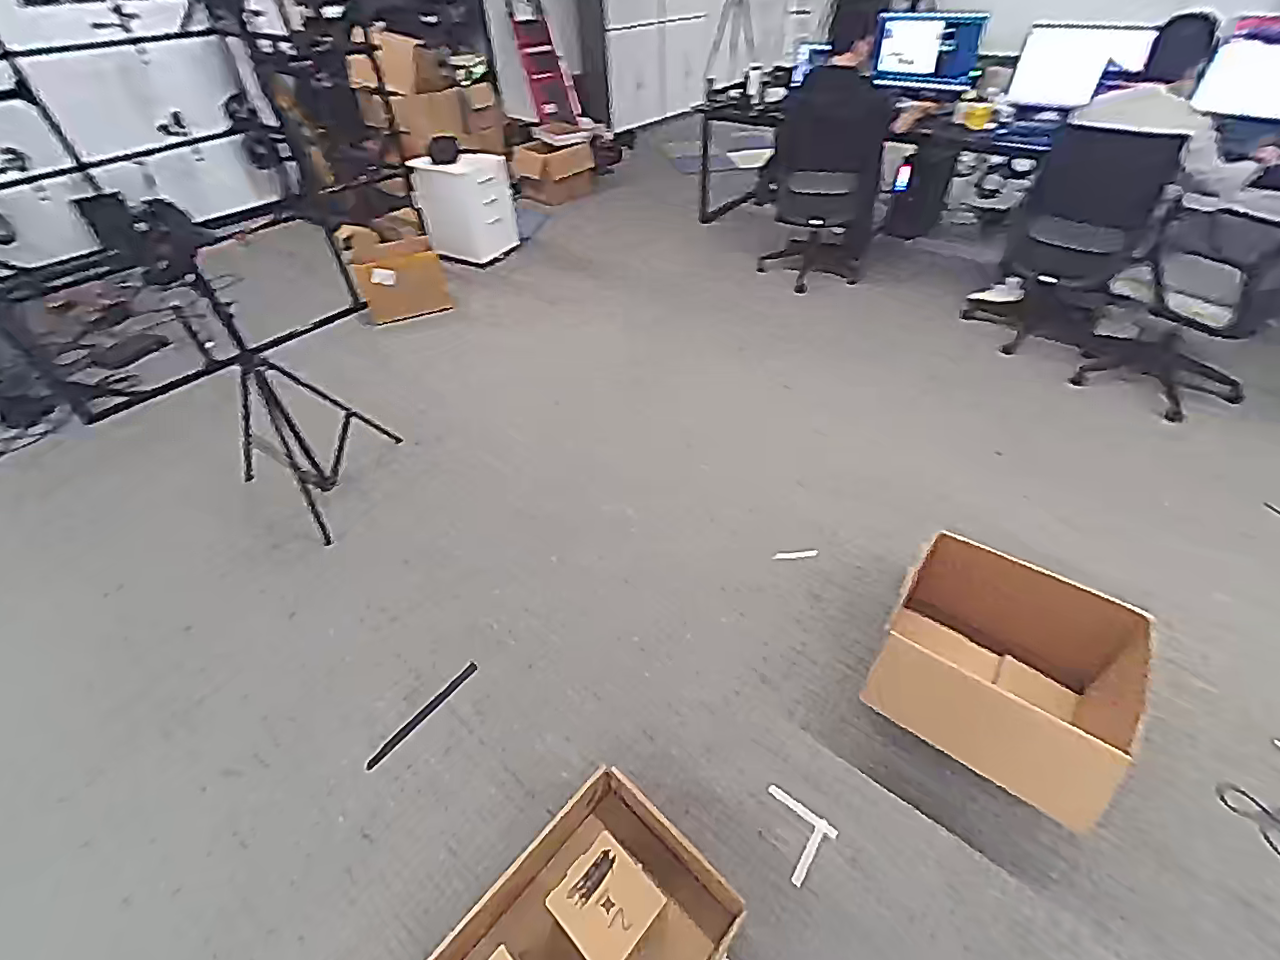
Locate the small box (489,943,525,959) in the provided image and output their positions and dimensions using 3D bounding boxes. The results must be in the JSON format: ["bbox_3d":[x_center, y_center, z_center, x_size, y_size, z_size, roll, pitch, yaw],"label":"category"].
[{"bbox_3d":[-0.253,0.996,0.971,0.168,0.176,0.179,34,53,29],"label":"small box"}]
